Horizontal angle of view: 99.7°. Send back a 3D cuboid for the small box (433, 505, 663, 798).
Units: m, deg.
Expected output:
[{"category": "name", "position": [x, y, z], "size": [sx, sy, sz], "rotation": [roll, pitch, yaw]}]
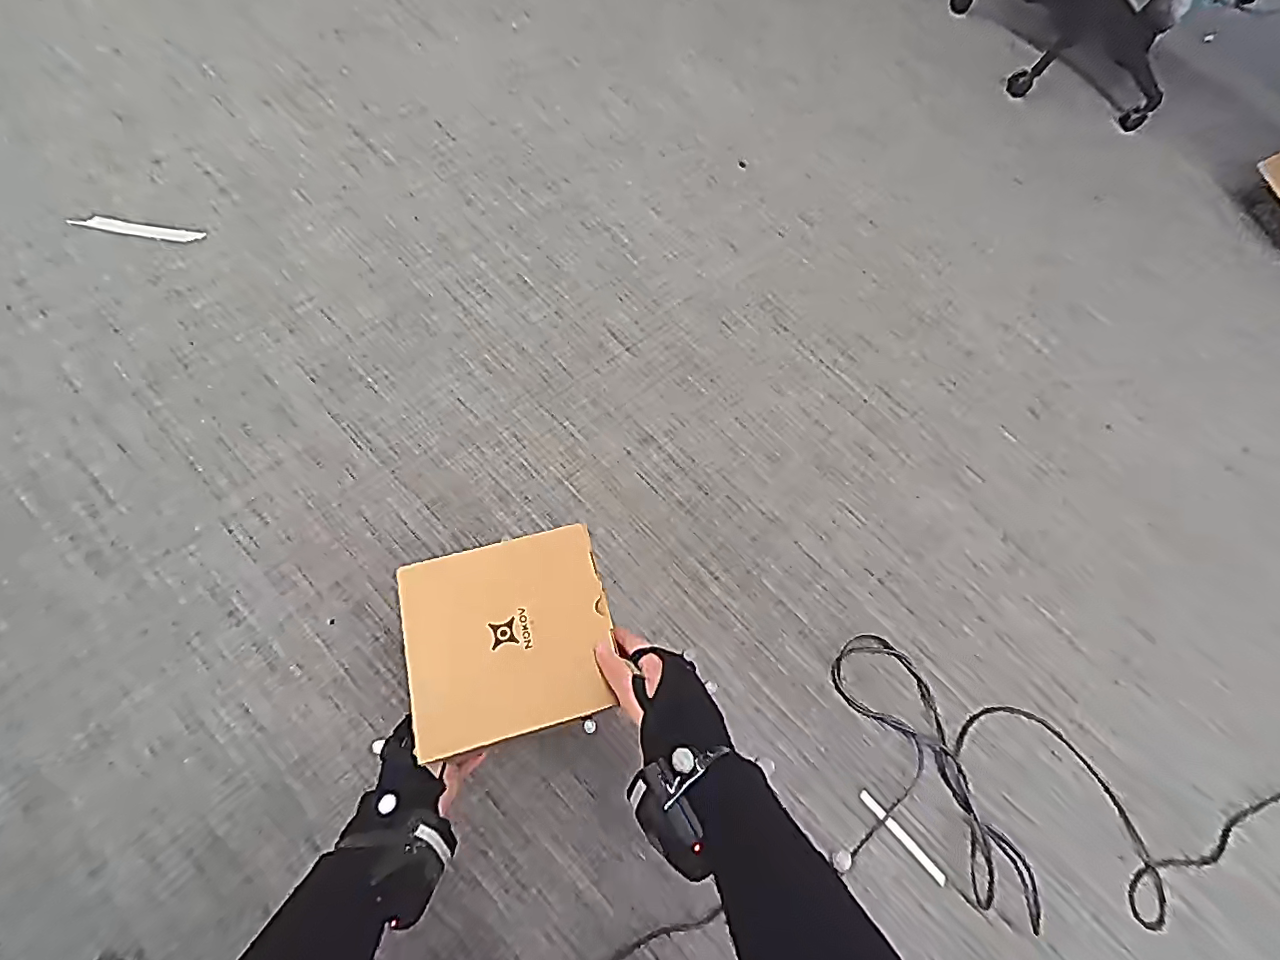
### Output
[{"category": "small box", "position": [-0.093, 0.149, 0.498], "size": [0.168, 0.176, 0.179], "rotation": [-6, 47, -26]}]
